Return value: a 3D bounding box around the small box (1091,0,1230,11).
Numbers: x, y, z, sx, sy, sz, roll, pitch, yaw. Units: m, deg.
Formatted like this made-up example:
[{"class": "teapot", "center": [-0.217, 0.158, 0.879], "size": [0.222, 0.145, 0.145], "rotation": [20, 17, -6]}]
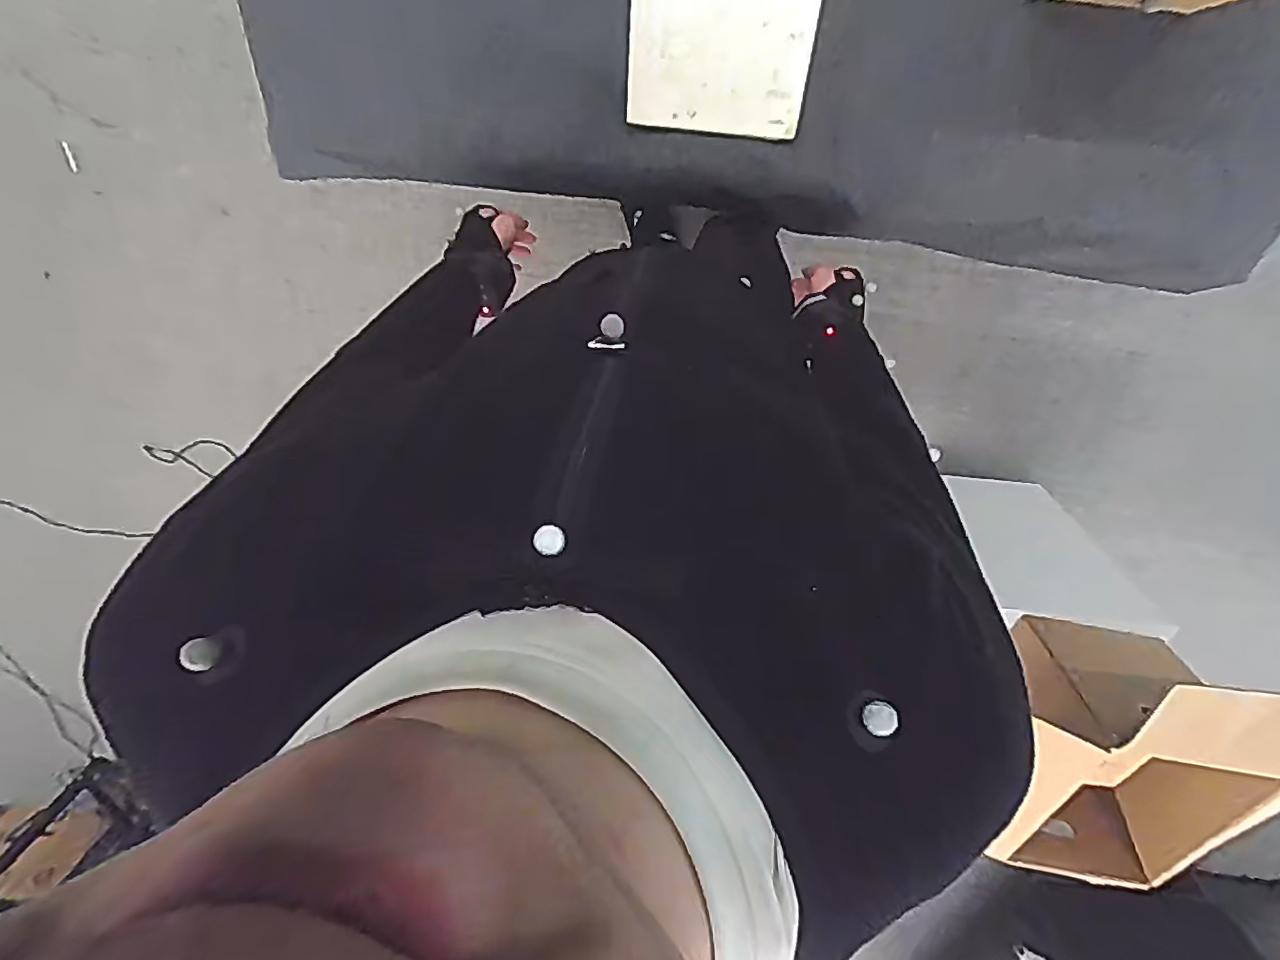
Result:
[{"class": "small box", "center": [0.467, -0.504, 0.432], "size": [0.168, 0.176, 0.179], "rotation": [7, 124, 1]}]
